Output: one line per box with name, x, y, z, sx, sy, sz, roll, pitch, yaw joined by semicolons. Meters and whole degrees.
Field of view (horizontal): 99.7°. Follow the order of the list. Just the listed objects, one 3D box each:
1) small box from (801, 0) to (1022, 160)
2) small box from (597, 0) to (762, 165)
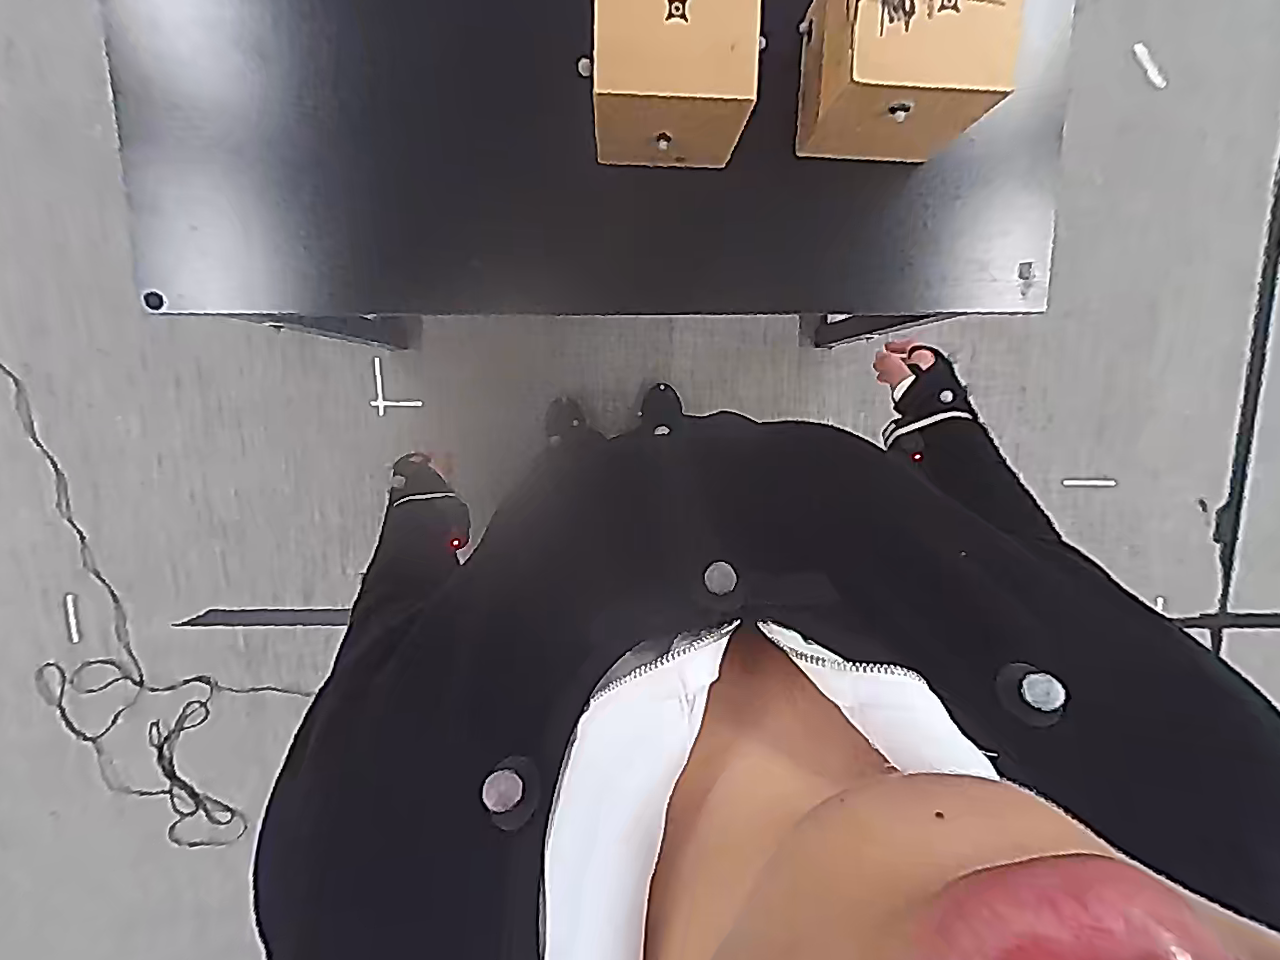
small box;0.299;-0.495;0.626;0.179;0.176;0.168;2;98;-3
small box;0.038;-0.485;0.618;0.168;0.176;0.179;1;98;-3
